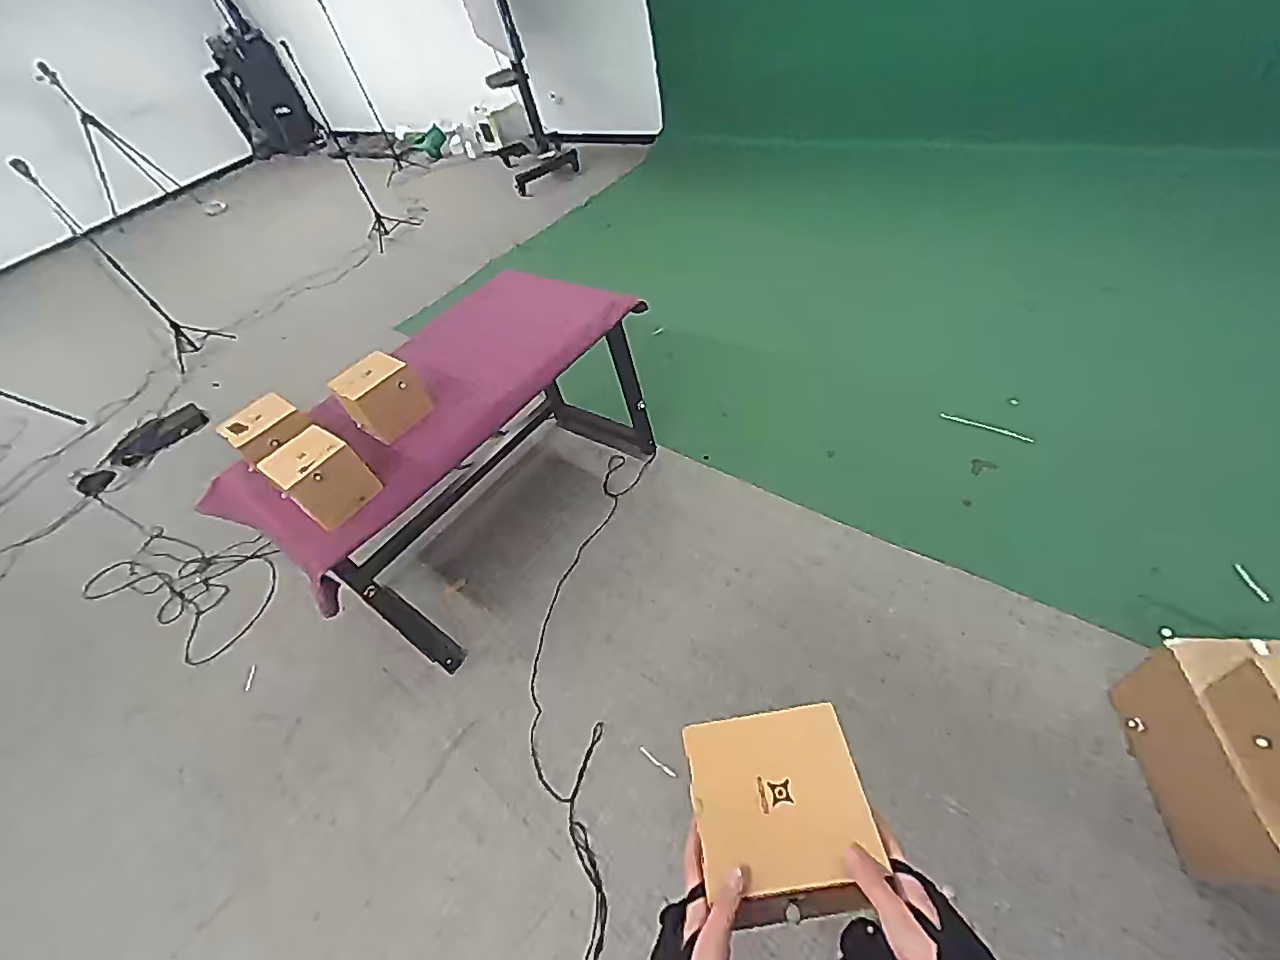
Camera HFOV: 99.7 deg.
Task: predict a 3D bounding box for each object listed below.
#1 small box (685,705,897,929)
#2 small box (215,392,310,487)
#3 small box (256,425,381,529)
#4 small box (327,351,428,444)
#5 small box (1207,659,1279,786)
[{"bbox_3d":[0.156,0.379,0.606,0.179,0.176,0.168,-12,43,3],"label":"small box"},{"bbox_3d":[-1.011,-0.109,1.498,0.168,0.176,0.179,25,59,32],"label":"small box"},{"bbox_3d":[-0.790,-0.005,1.341,0.179,0.176,0.168,22,58,33],"label":"small box"},{"bbox_3d":[-0.731,-0.234,1.532,0.168,0.176,0.179,25,60,33],"label":"small box"},{"bbox_3d":[1.184,0.436,0.955,0.168,0.176,0.179,-2,48,14],"label":"small box"}]
